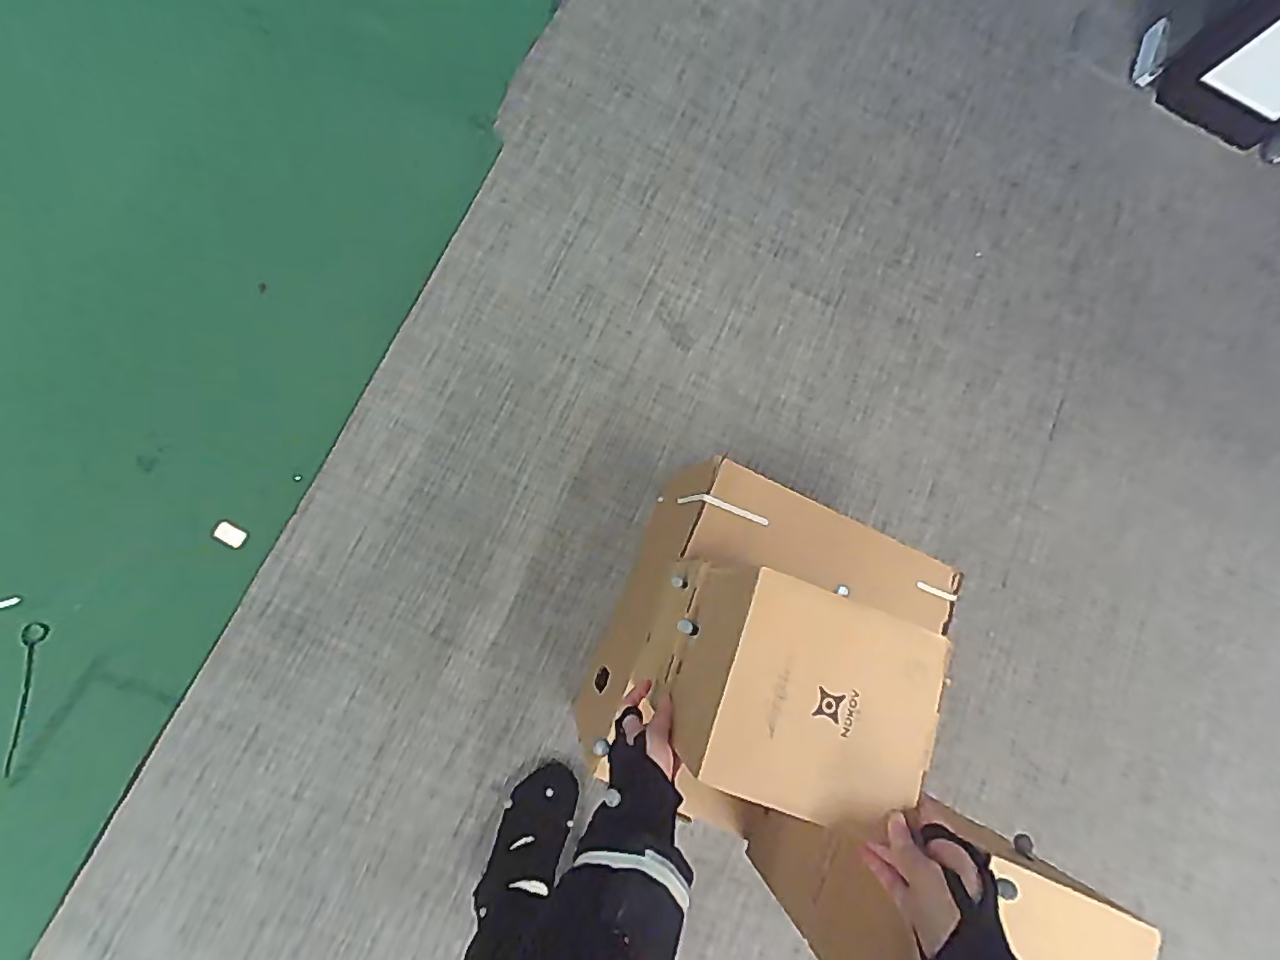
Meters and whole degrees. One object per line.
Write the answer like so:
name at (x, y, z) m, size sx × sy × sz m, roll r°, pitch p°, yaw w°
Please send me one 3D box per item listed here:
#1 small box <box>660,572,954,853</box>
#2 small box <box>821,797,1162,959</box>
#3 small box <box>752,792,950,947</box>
small box at (0.135, 0.187, 0.489) m, size 0.179 × 0.176 × 0.168 m, roll 21°, pitch 78°, yaw -4°
small box at (0.289, 0.406, 0.479) m, size 0.168 × 0.176 × 0.179 m, roll 26°, pitch 79°, yaw -5°
small box at (0.262, 0.432, 0.638) m, size 0.179 × 0.176 × 0.168 m, roll 26°, pitch 78°, yaw -5°
